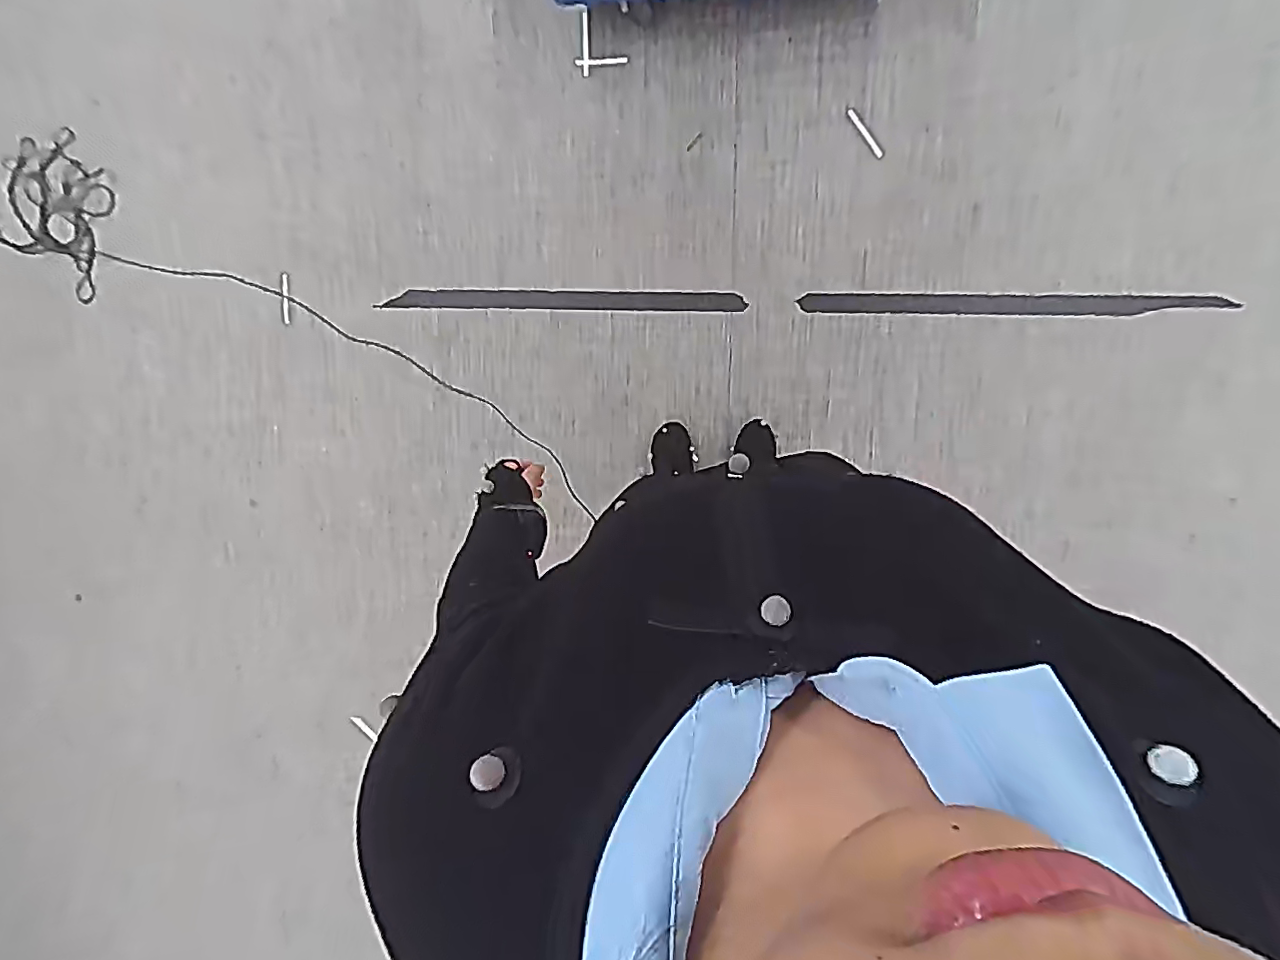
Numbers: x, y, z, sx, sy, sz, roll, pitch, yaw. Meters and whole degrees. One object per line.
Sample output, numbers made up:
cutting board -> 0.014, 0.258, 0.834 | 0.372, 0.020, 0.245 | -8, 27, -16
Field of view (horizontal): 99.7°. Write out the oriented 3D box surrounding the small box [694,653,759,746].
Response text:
small box -> 0.230, 0.589, 1.468 | 0.168, 0.176, 0.179 | -1, 95, 6
